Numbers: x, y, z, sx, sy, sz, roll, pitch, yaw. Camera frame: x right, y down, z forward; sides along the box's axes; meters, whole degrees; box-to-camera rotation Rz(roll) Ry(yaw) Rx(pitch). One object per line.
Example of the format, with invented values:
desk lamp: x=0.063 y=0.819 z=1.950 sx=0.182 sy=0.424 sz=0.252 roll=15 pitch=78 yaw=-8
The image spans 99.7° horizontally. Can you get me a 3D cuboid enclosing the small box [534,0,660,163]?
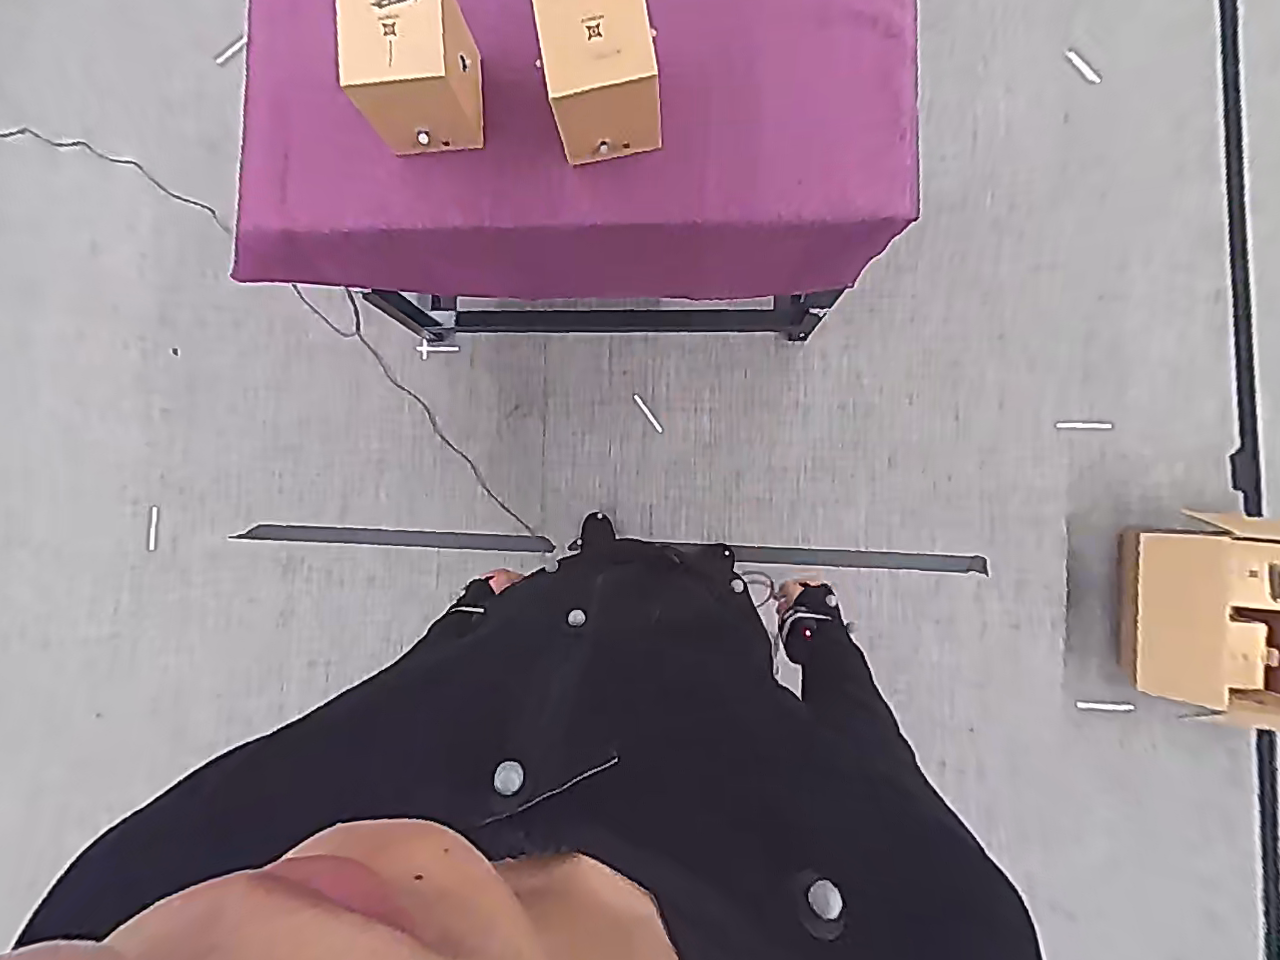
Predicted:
small box: x=-0.063 y=-0.656 z=0.871 sx=0.168 sy=0.176 sz=0.179 roll=-10 pitch=86 yaw=4

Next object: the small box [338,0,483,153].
small box: x=-0.368 y=-0.679 z=0.890 sx=0.168 sy=0.176 sz=0.179 roll=-3 pitch=88 yaw=4
